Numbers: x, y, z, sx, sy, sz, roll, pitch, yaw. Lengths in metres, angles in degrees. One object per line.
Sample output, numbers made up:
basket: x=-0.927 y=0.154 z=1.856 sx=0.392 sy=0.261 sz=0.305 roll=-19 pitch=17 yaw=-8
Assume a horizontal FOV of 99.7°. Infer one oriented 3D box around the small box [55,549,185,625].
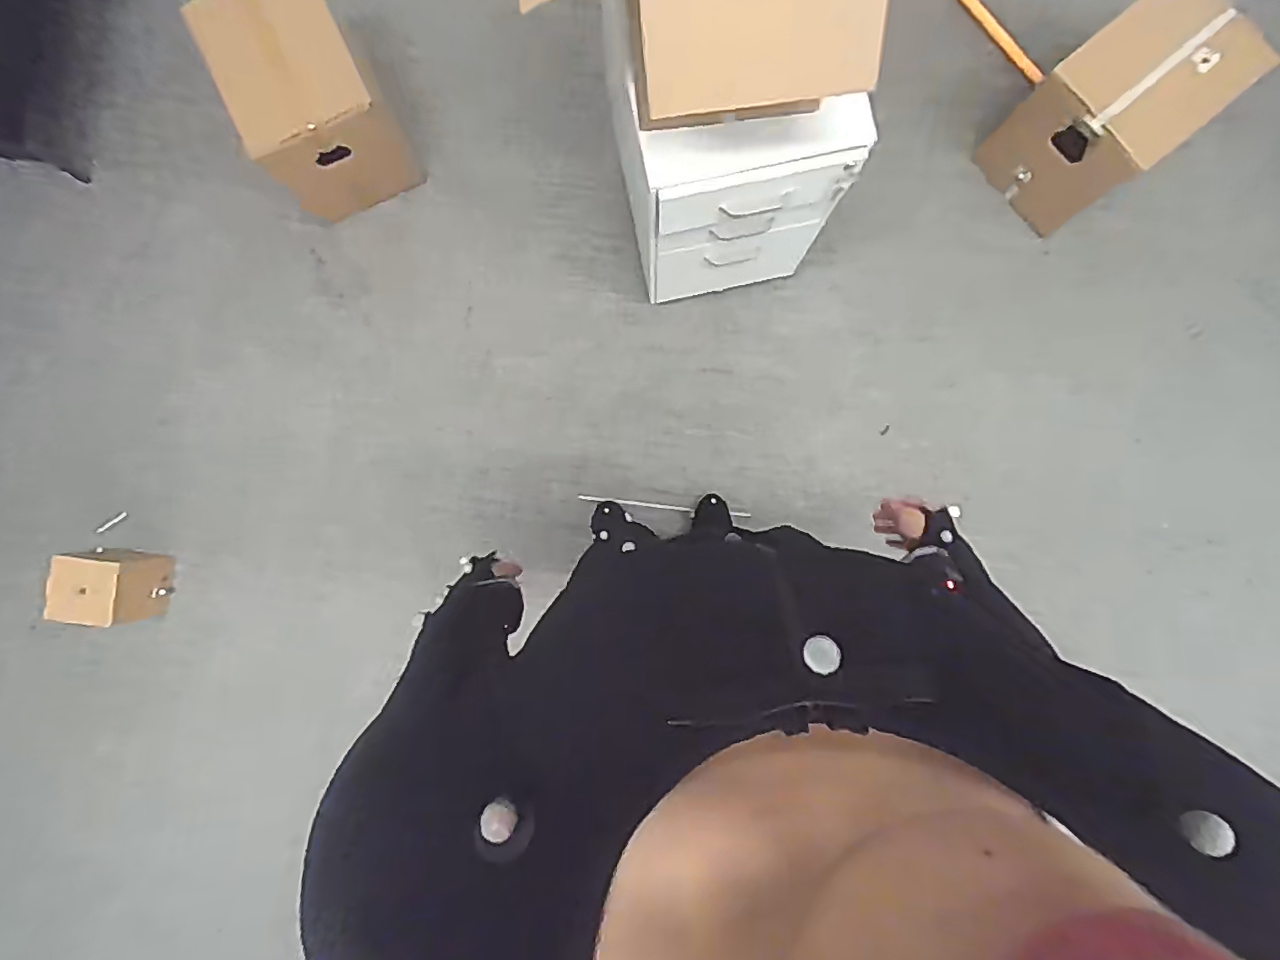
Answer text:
small box: x=-1.392 y=0.281 z=1.457 sx=0.179 sy=0.176 sz=0.168 roll=7 pitch=89 yaw=1
